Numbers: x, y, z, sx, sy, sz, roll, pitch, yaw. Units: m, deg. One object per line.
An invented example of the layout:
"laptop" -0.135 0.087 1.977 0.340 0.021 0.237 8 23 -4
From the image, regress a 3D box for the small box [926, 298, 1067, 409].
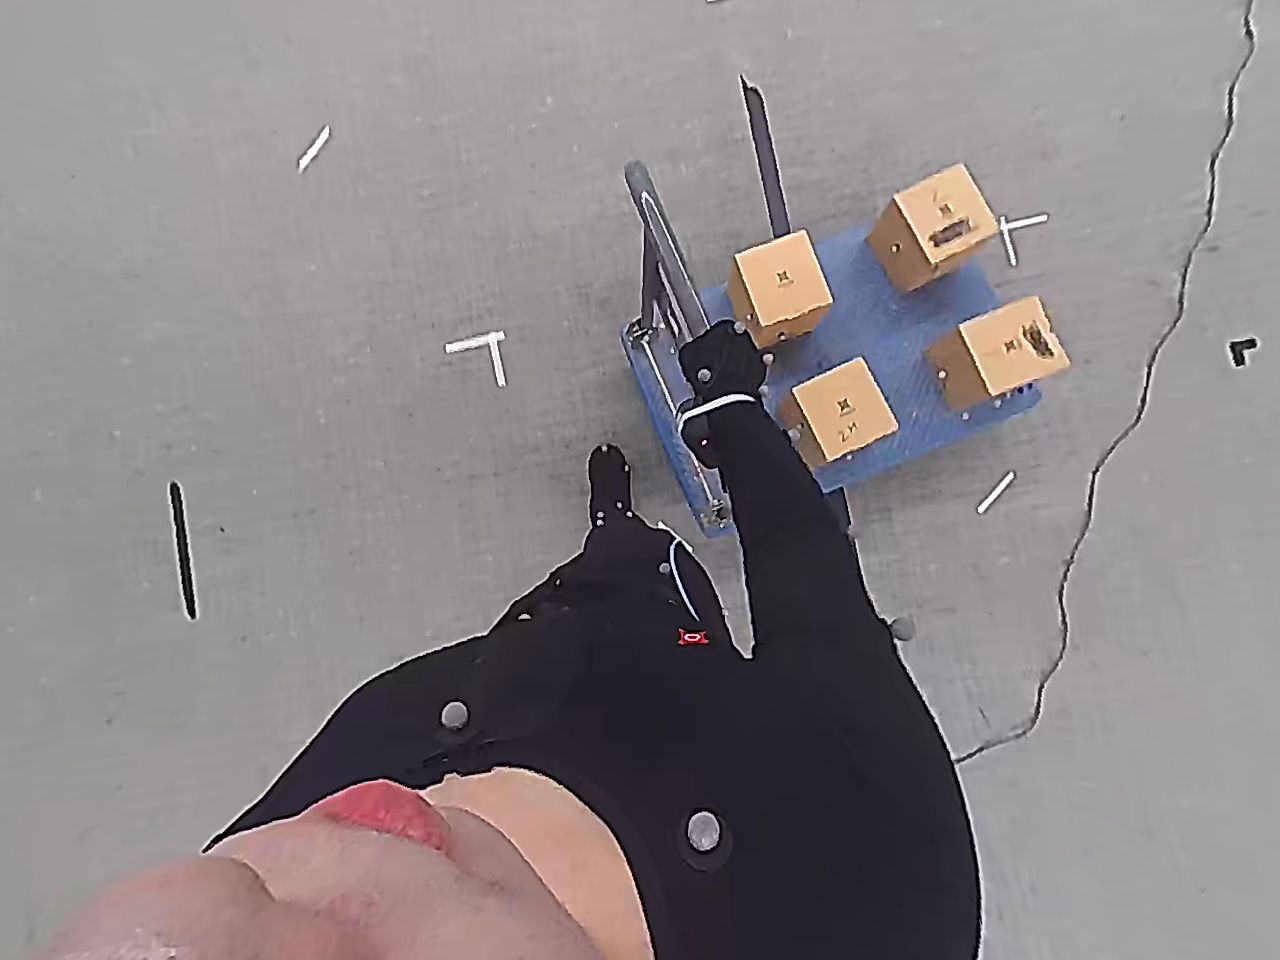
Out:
"small box" 0.784 -0.274 1.208 0.179 0.176 0.168 -21 85 2

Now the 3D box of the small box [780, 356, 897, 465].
"small box" 0.434 -0.148 1.217 0.168 0.176 0.179 -24 85 1

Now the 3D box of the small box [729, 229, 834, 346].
"small box" 0.316 -0.435 1.246 0.168 0.176 0.179 -19 87 1
